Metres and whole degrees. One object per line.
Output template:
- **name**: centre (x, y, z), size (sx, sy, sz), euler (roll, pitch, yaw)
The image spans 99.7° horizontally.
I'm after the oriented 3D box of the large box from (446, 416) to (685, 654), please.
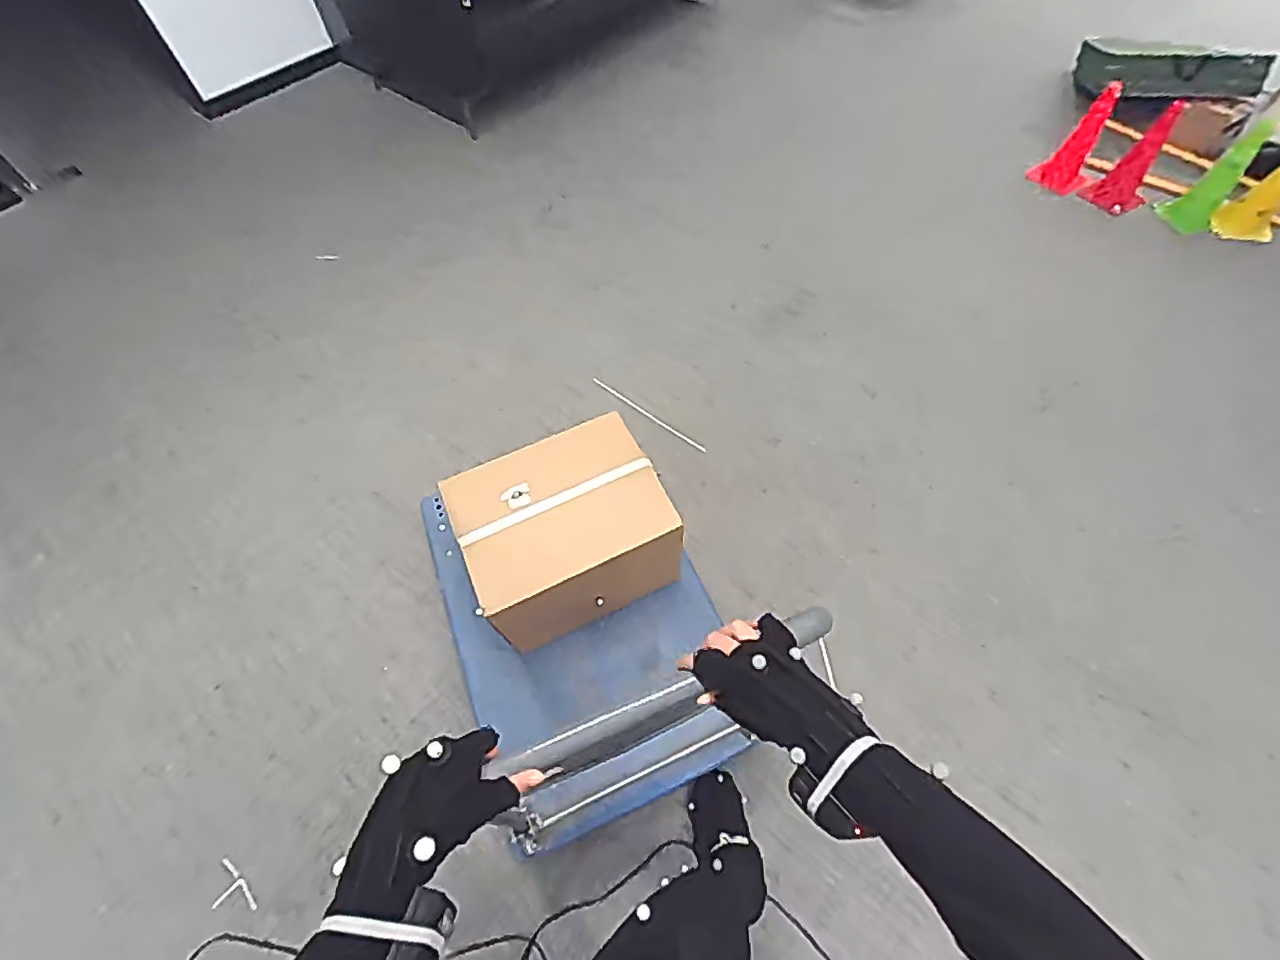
- **large box**: centre (-0.147, 0.128, 1.203), size (0.408, 0.320, 0.320), euler (-25, 62, -11)
